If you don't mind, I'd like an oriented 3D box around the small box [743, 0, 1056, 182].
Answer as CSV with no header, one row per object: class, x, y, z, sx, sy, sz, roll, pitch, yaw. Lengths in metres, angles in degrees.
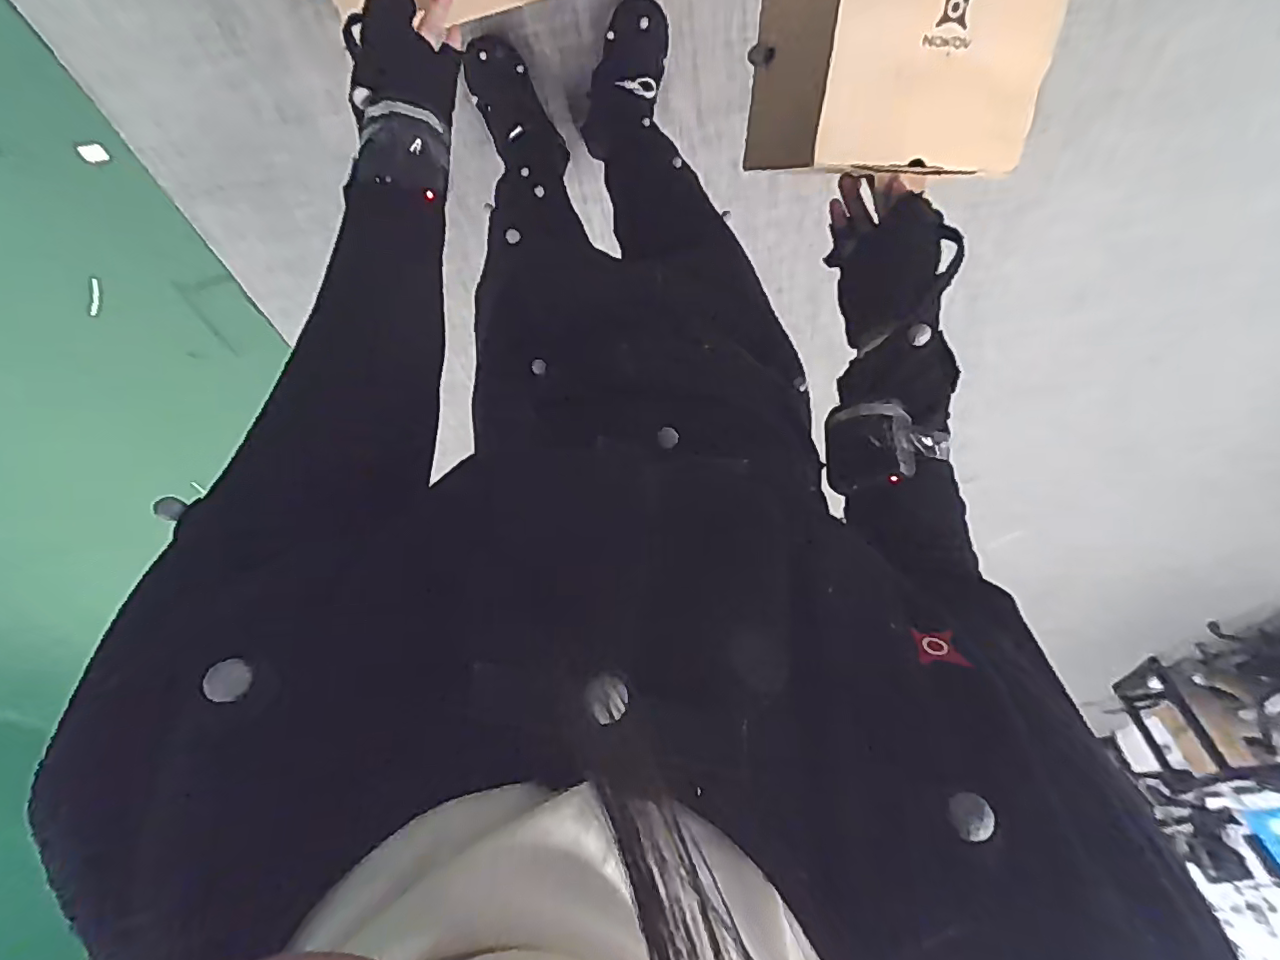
small box,0.191,-0.347,0.438,0.168,0.176,0.179,-2,120,-8
